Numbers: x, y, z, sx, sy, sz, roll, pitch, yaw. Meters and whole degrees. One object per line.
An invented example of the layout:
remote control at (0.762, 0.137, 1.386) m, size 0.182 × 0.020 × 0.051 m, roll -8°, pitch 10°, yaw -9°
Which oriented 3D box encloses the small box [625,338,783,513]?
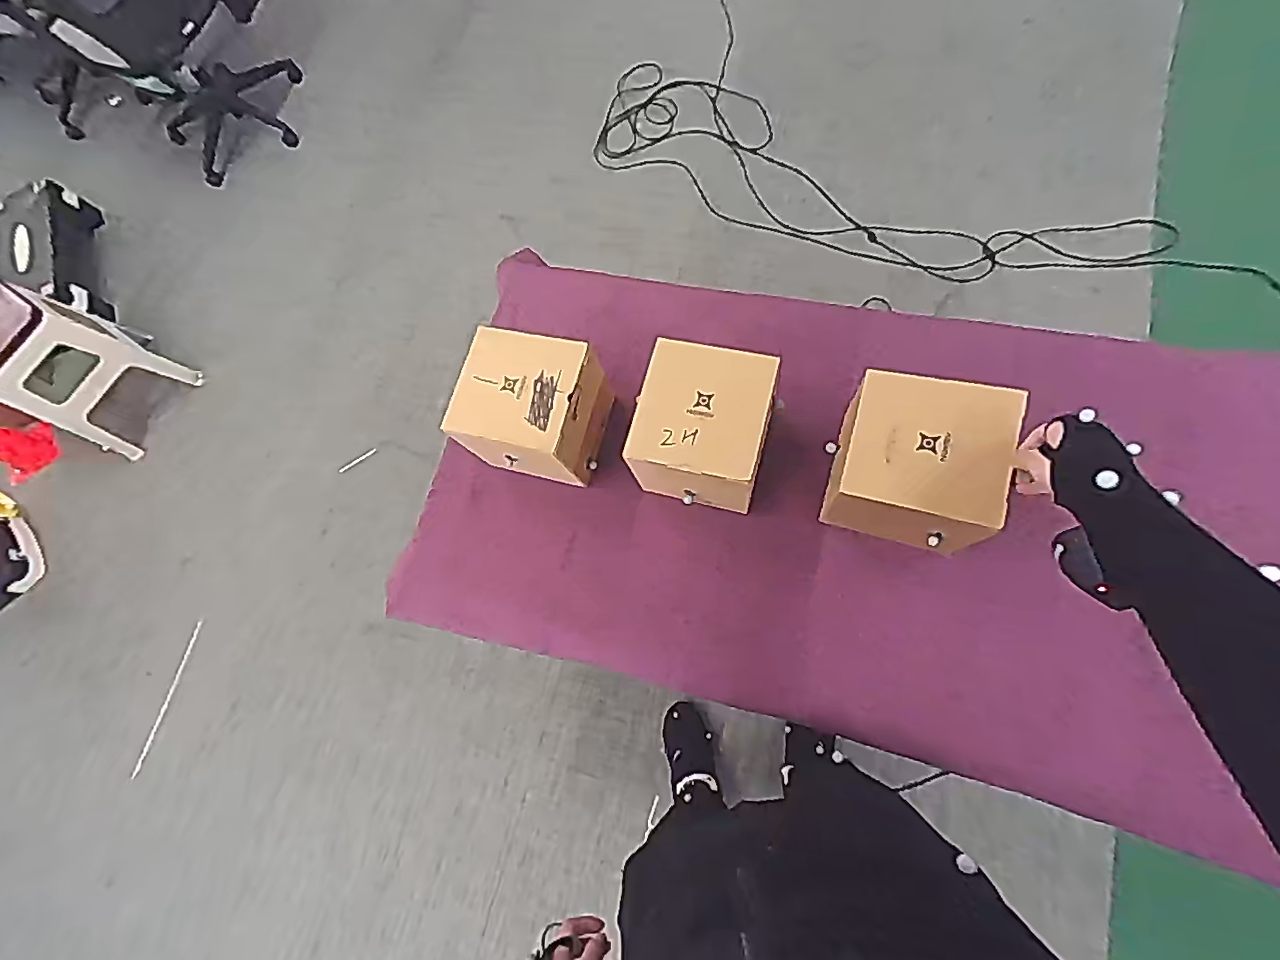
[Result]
small box at (0.093, -0.069, 0.758) m, size 0.168 × 0.176 × 0.179 m, roll 14°, pitch 77°, yaw 14°

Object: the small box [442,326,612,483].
small box at (-0.155, -0.104, 0.811) m, size 0.179 × 0.176 × 0.168 m, roll 13°, pitch 76°, yaw 14°

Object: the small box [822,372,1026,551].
small box at (0.351, -0.014, 0.699) m, size 0.179 × 0.176 × 0.168 m, roll 15°, pitch 77°, yaw 14°
